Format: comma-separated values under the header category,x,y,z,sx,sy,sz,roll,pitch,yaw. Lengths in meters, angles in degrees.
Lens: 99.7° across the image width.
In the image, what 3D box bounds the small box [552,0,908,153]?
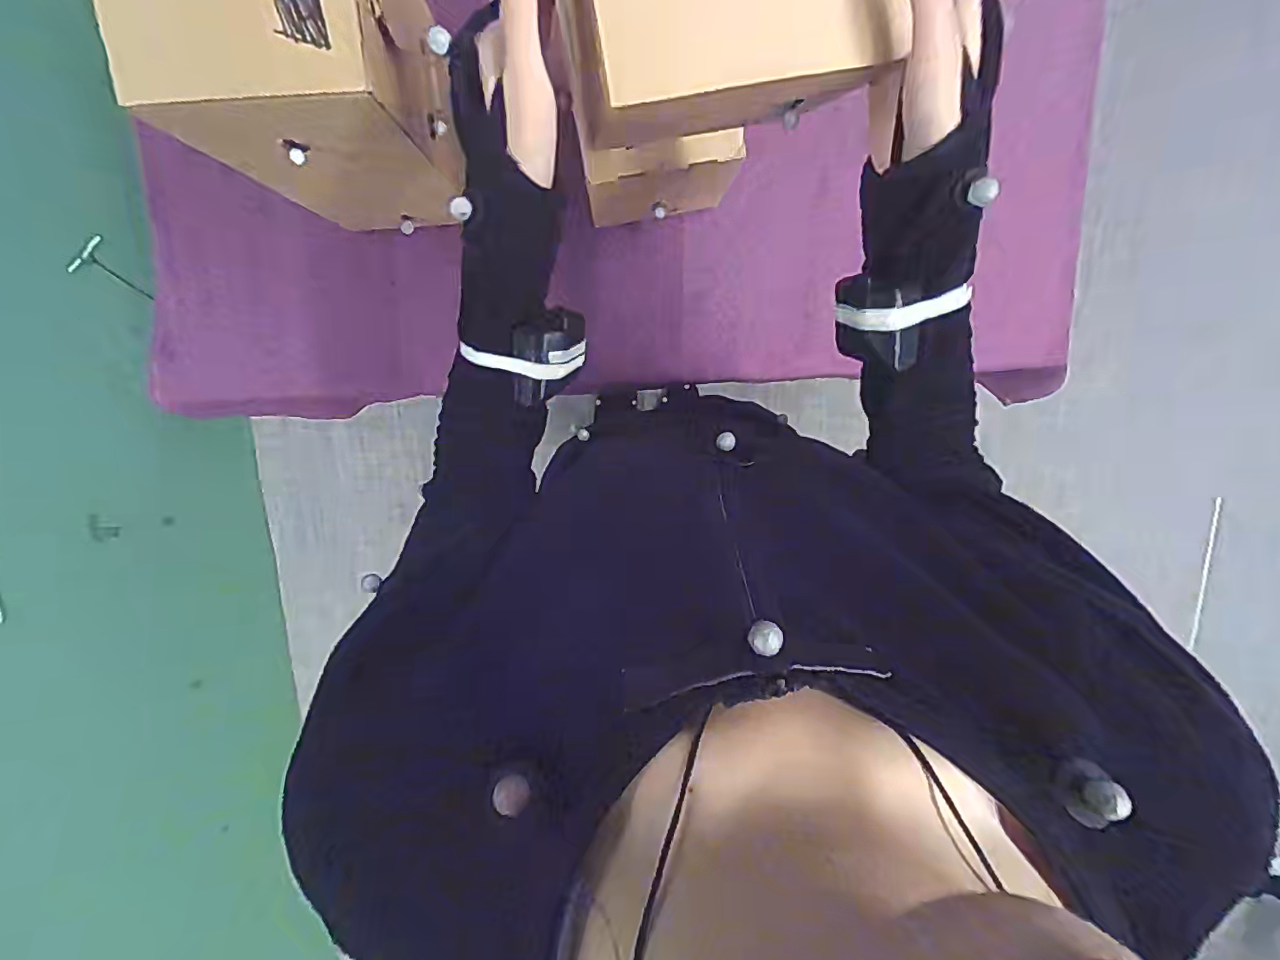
category,x,y,z,sx,sy,sz,roll,pitch,yaw
small box,0.037,-0.311,0.326,0.179,0.176,0.168,-12,116,-4

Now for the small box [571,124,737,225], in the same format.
category,x,y,z,sx,sy,sz,roll,pitch,yaw
small box,0.004,-0.414,0.614,0.168,0.176,0.179,-9,102,0

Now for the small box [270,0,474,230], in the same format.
category,x,y,z,sx,sy,sz,roll,pitch,yaw
small box,-0.294,-0.391,0.607,0.179,0.176,0.168,-5,101,-2

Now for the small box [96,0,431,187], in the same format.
category,x,y,z,sx,sy,sz,roll,pitch,yaw
small box,-0.287,-0.359,0.446,0.179,0.176,0.168,-4,102,0
